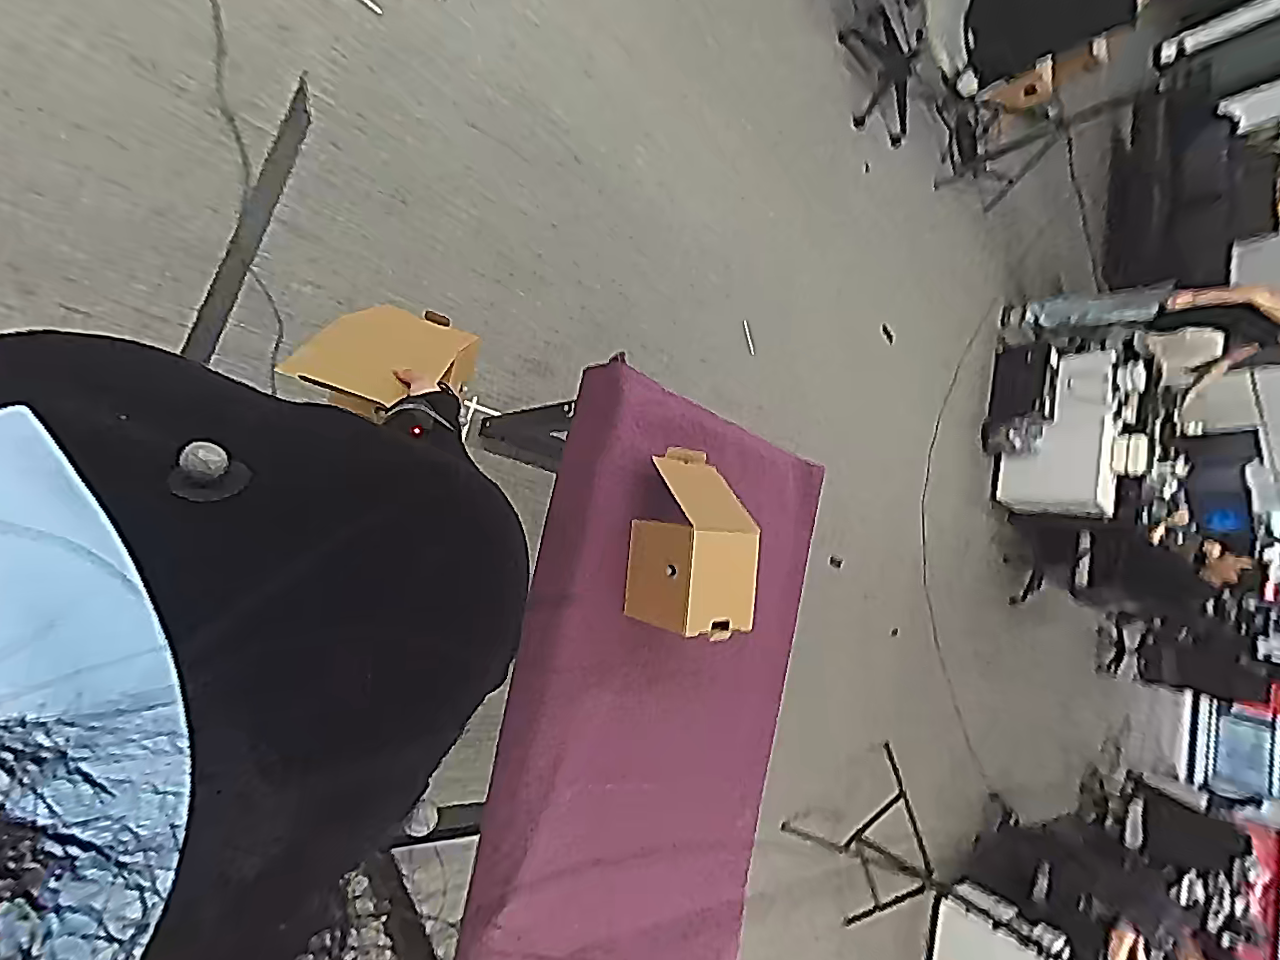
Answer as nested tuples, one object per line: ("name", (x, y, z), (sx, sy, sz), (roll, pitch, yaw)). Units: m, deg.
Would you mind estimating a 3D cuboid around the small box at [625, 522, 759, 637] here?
("small box", (0.089, 0.168, 0.961), (0.168, 0.176, 0.179), (8, 87, -37))
